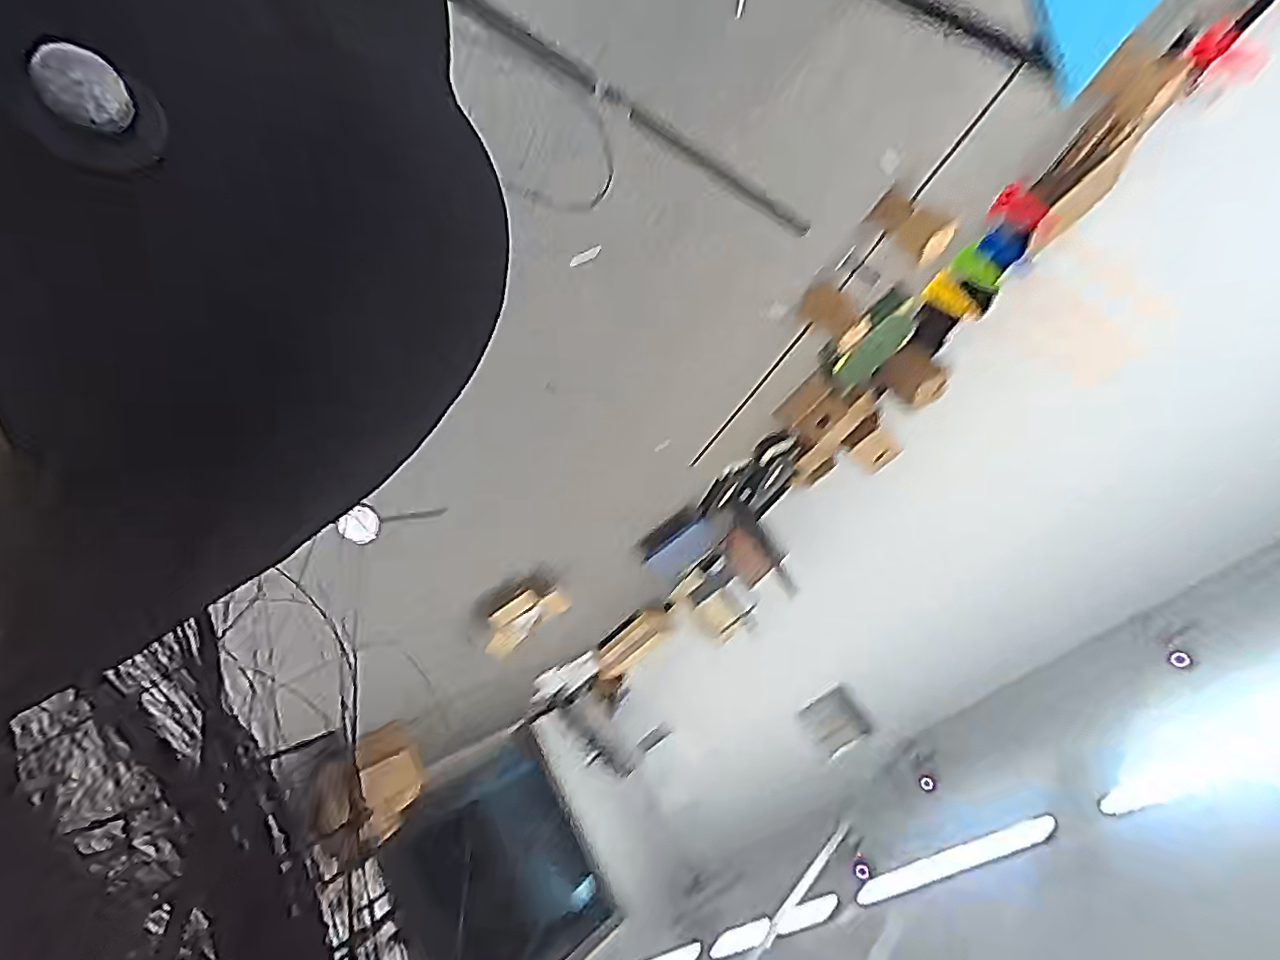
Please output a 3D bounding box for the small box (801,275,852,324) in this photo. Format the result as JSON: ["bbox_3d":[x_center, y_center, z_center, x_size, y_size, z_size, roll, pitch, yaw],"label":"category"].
[{"bbox_3d":[1.004,-0.985,2.929,0.168,0.176,0.179,-25,153,-21],"label":"small box"}]

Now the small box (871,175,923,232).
[{"bbox_3d":[1.257,-1.337,2.632,0.168,0.176,0.179,-6,141,-50],"label":"small box"}]

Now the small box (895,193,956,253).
[{"bbox_3d":[1.357,-1.215,2.573,0.179,0.176,0.168,-37,156,-2],"label":"small box"}]

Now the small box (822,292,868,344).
[{"bbox_3d":[1.082,-0.860,2.857,0.168,0.176,0.179,-40,156,12],"label":"small box"}]
